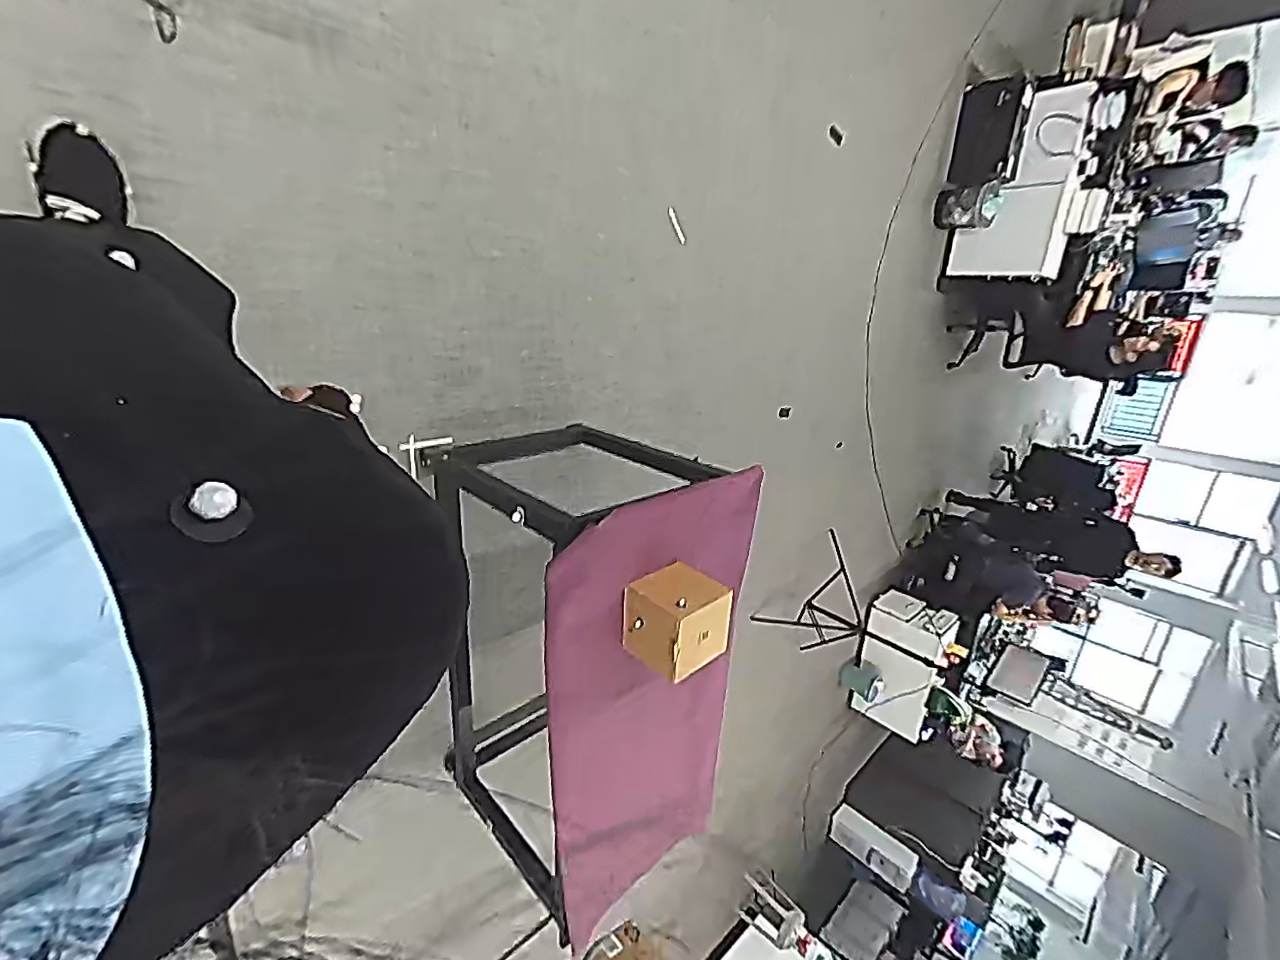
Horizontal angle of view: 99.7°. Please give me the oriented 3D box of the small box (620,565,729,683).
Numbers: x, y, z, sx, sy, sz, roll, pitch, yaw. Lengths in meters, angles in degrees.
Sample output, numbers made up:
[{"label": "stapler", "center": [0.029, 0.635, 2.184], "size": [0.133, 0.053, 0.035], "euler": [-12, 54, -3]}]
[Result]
[{"label": "small box", "center": [0.076, 0.314, 1.221], "size": [0.179, 0.176, 0.168], "euler": [-17, 118, -40]}]
